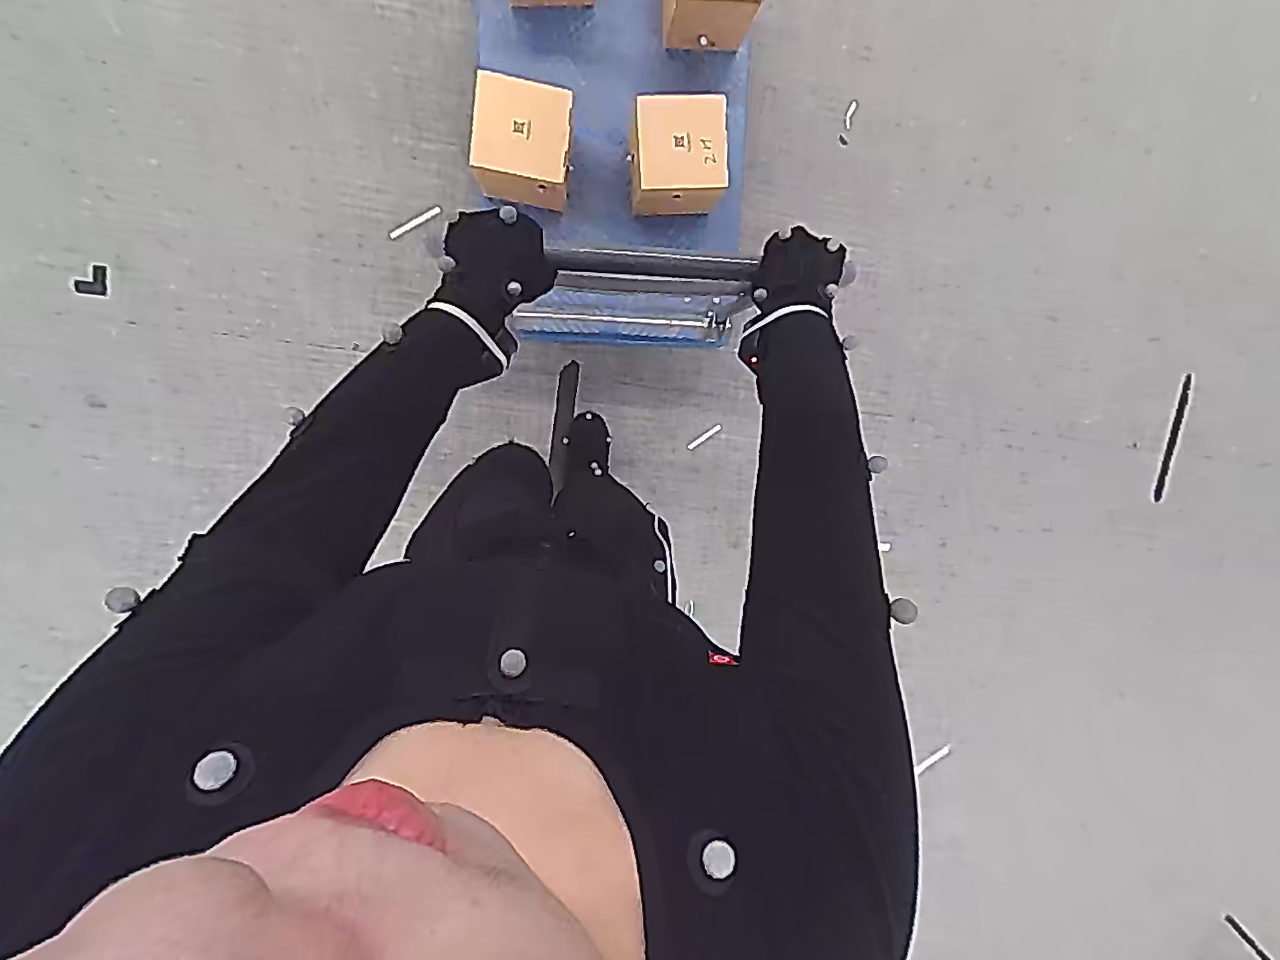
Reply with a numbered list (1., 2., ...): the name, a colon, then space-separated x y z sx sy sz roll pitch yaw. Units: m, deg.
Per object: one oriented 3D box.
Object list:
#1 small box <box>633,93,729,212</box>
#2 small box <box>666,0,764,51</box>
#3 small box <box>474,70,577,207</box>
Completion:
1. small box: 0.078 -0.668 1.120 0.179 0.176 0.168 -4 101 -6
2. small box: 0.143 -0.997 1.066 0.168 0.176 0.179 -2 102 -6
3. small box: -0.224 -0.671 1.085 0.179 0.176 0.168 7 99 -9
